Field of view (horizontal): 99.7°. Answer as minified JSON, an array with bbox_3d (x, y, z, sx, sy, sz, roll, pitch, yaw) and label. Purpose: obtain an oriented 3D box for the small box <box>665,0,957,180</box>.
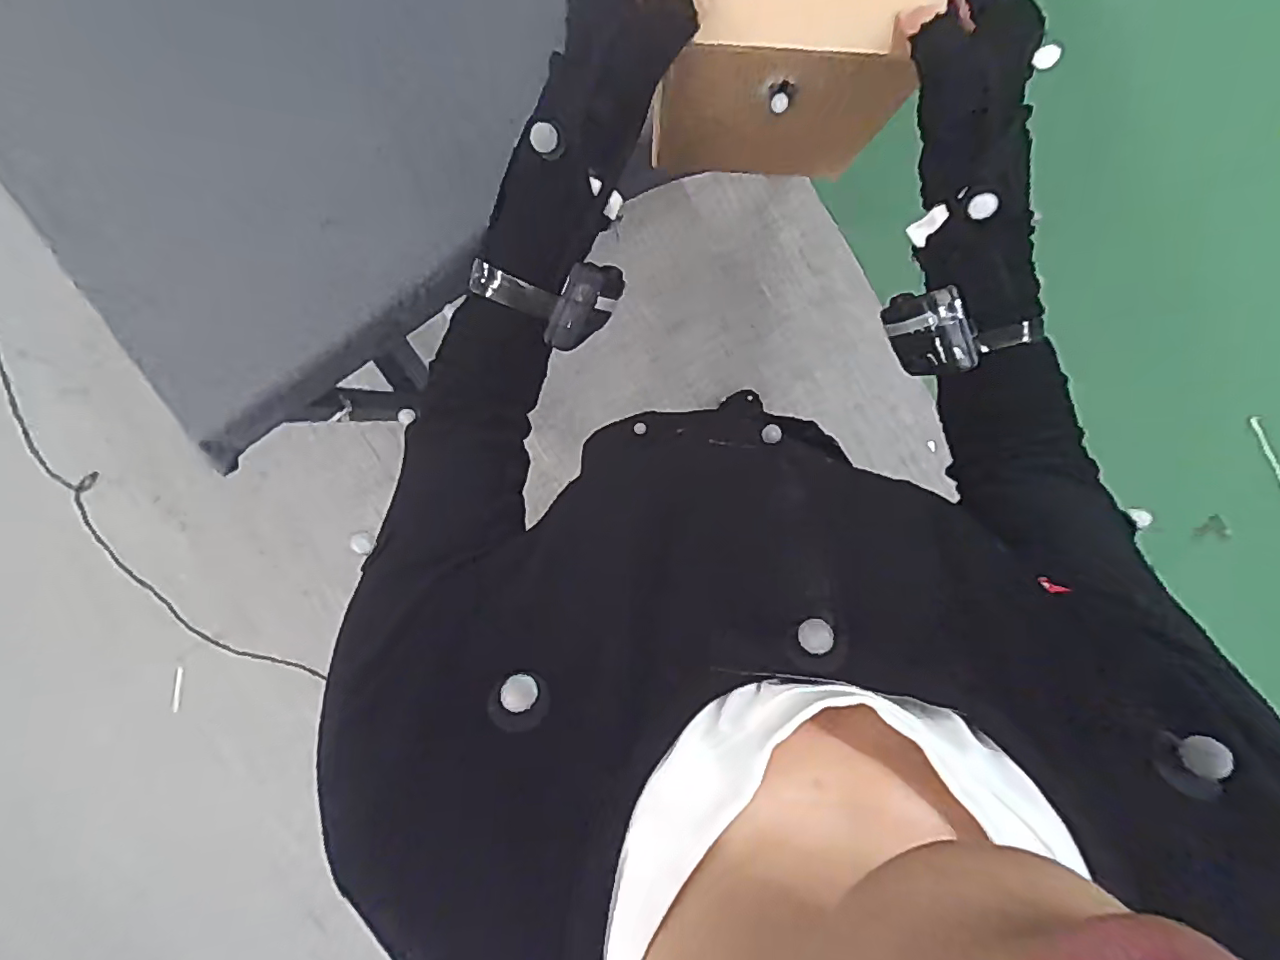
[{"bbox_3d":[0.113,-0.354,0.415,0.179,0.176,0.168,2,96,-3],"label":"small box"}]
